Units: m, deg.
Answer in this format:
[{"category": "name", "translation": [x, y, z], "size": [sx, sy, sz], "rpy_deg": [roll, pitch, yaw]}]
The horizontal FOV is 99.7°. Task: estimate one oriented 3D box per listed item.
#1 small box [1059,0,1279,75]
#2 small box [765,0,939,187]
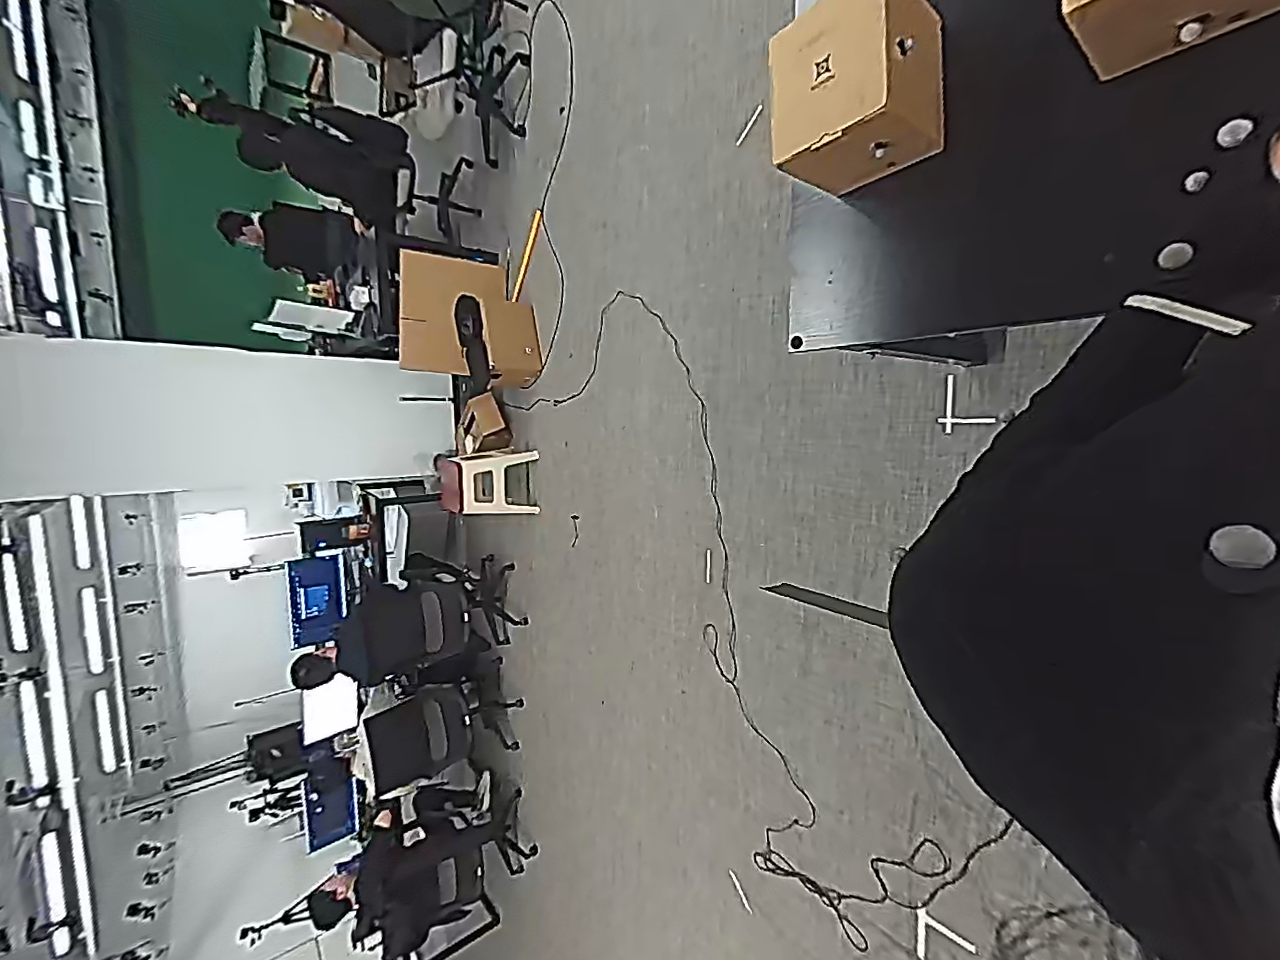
[{"category": "small box", "translation": [0.500, -0.517, 0.480], "size": [0.168, 0.176, 0.179], "rpy_deg": [5, 99, 51]}, {"category": "small box", "translation": [0.291, -0.527, 0.739], "size": [0.168, 0.176, 0.179], "rpy_deg": [1, 94, 50]}]
